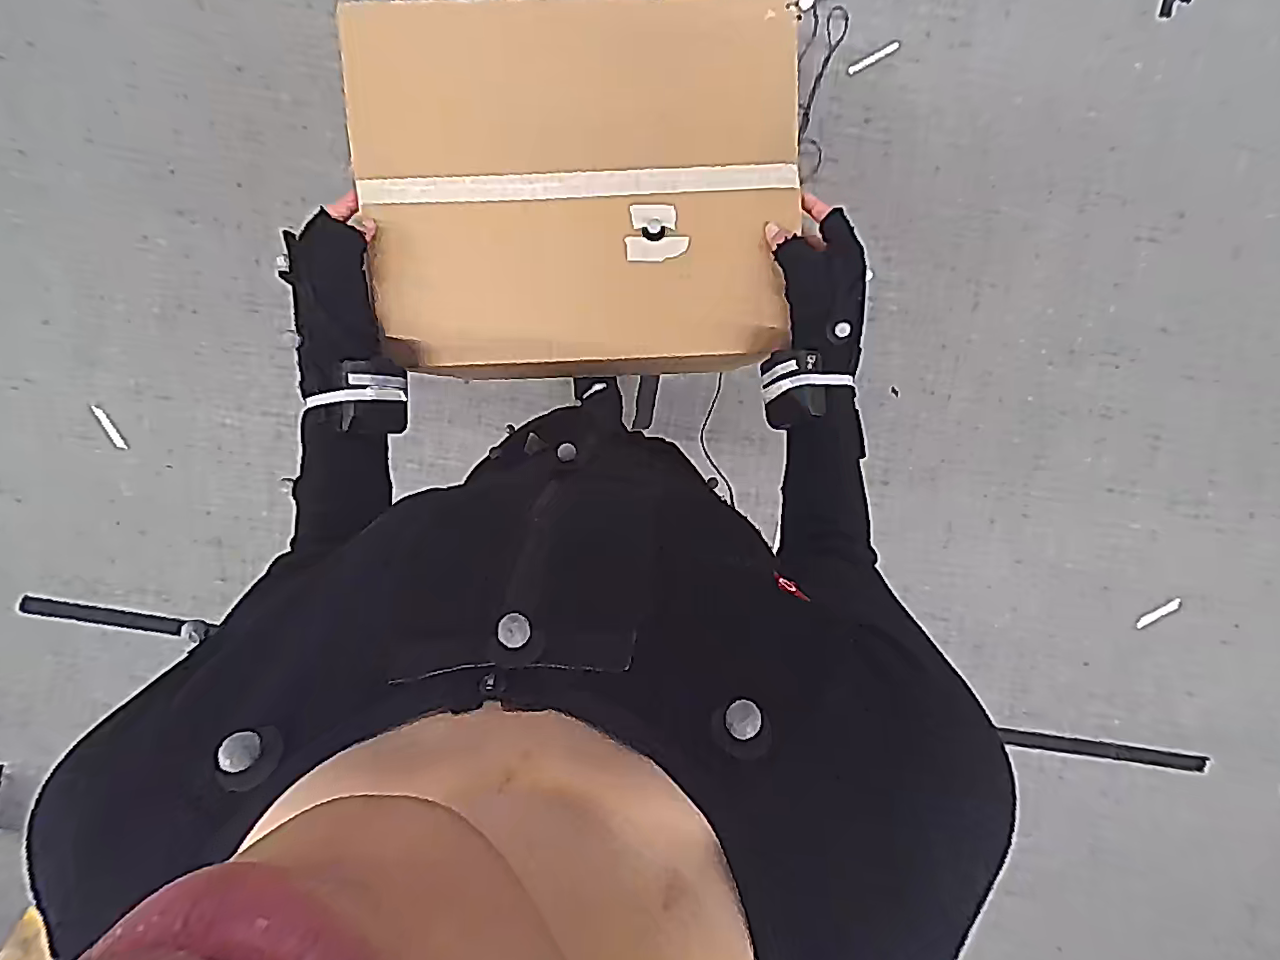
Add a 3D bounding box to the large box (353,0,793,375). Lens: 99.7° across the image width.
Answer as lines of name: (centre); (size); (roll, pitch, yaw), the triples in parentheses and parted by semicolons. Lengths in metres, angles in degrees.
large box: (-0.061, -0.304, 0.657); (0.408, 0.320, 0.320); (-3, 98, -2)
